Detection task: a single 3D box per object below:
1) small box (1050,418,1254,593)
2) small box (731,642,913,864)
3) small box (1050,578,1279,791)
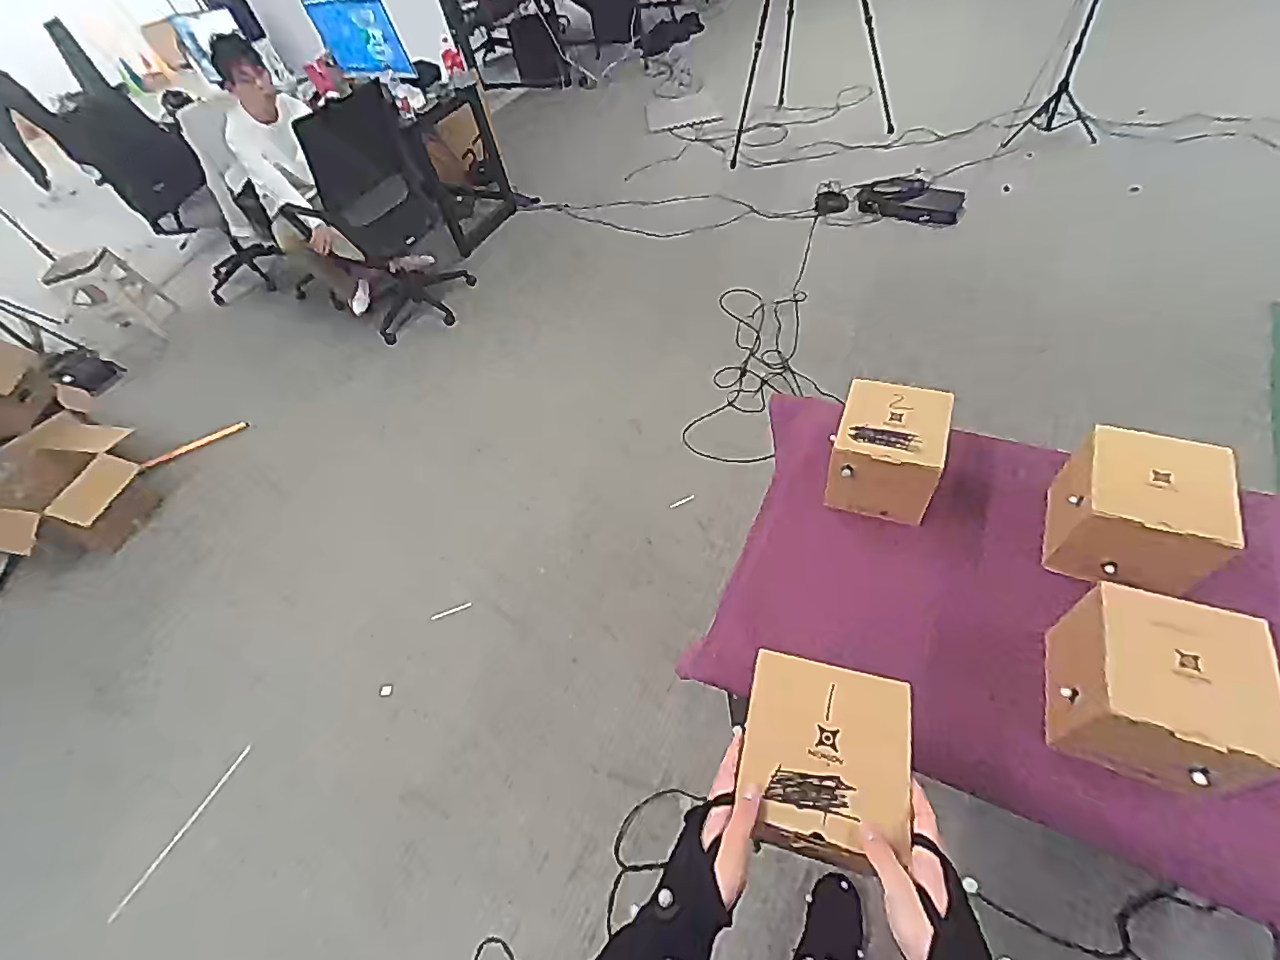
[{"bbox_3d":[0.748,0.040,0.811,0.168,0.176,0.179,16,60,23],"label":"small box"},{"bbox_3d":[0.204,0.316,0.622,0.168,0.176,0.179,9,55,16],"label":"small box"},{"bbox_3d":[0.640,0.256,0.670,0.168,0.176,0.179,14,56,21],"label":"small box"}]
